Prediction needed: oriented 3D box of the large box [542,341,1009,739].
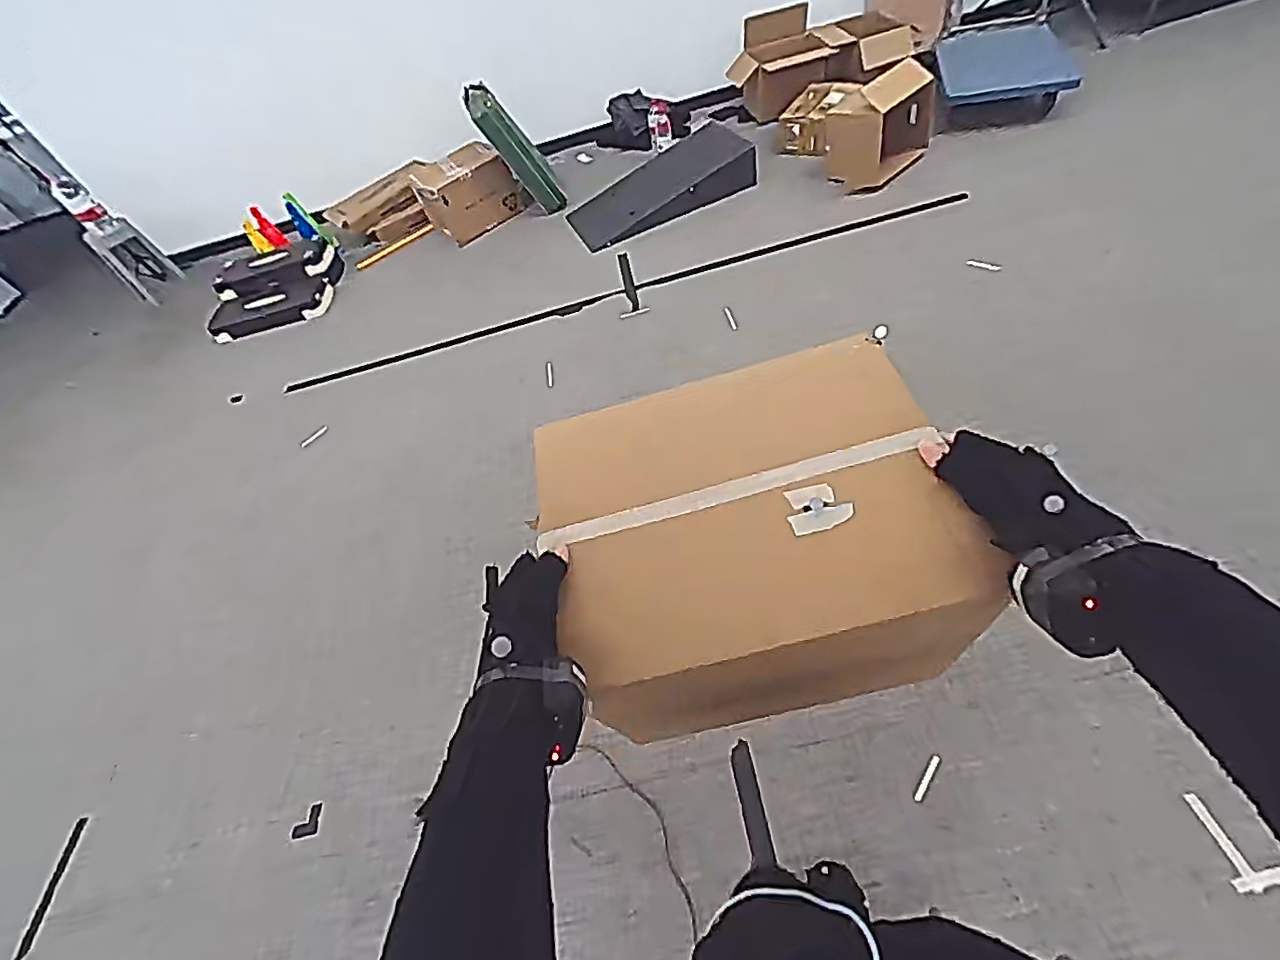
[{"bbox_3d":[0.128,0.093,0.676,0.408,0.320,0.320,-16,55,4],"label":"large box"}]
